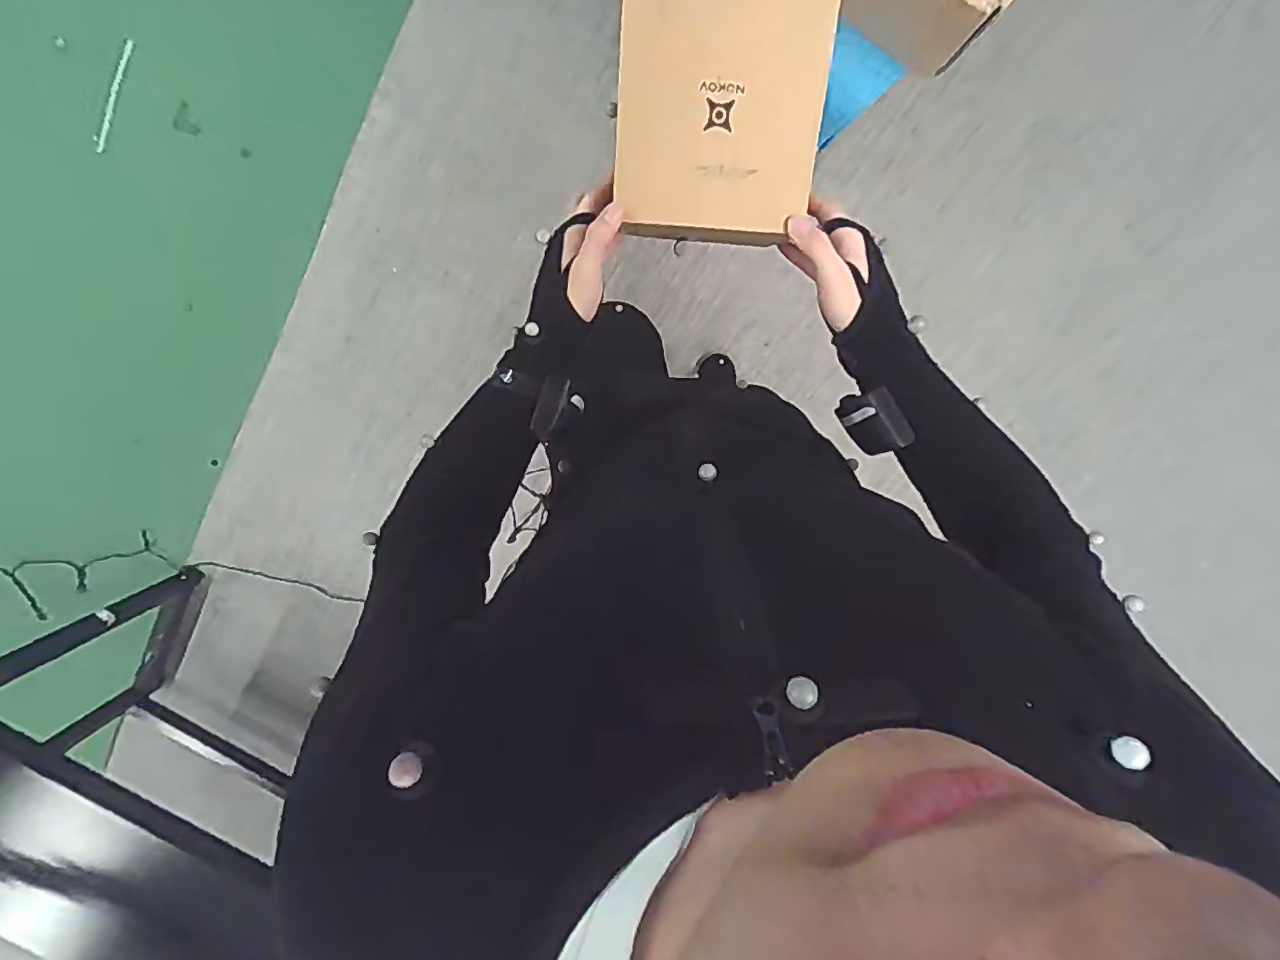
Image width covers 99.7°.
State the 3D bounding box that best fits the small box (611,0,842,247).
[{"bbox_3d":[0.066,-0.326,0.506,0.168,0.176,0.179,6,110,1],"label":"small box"}]
